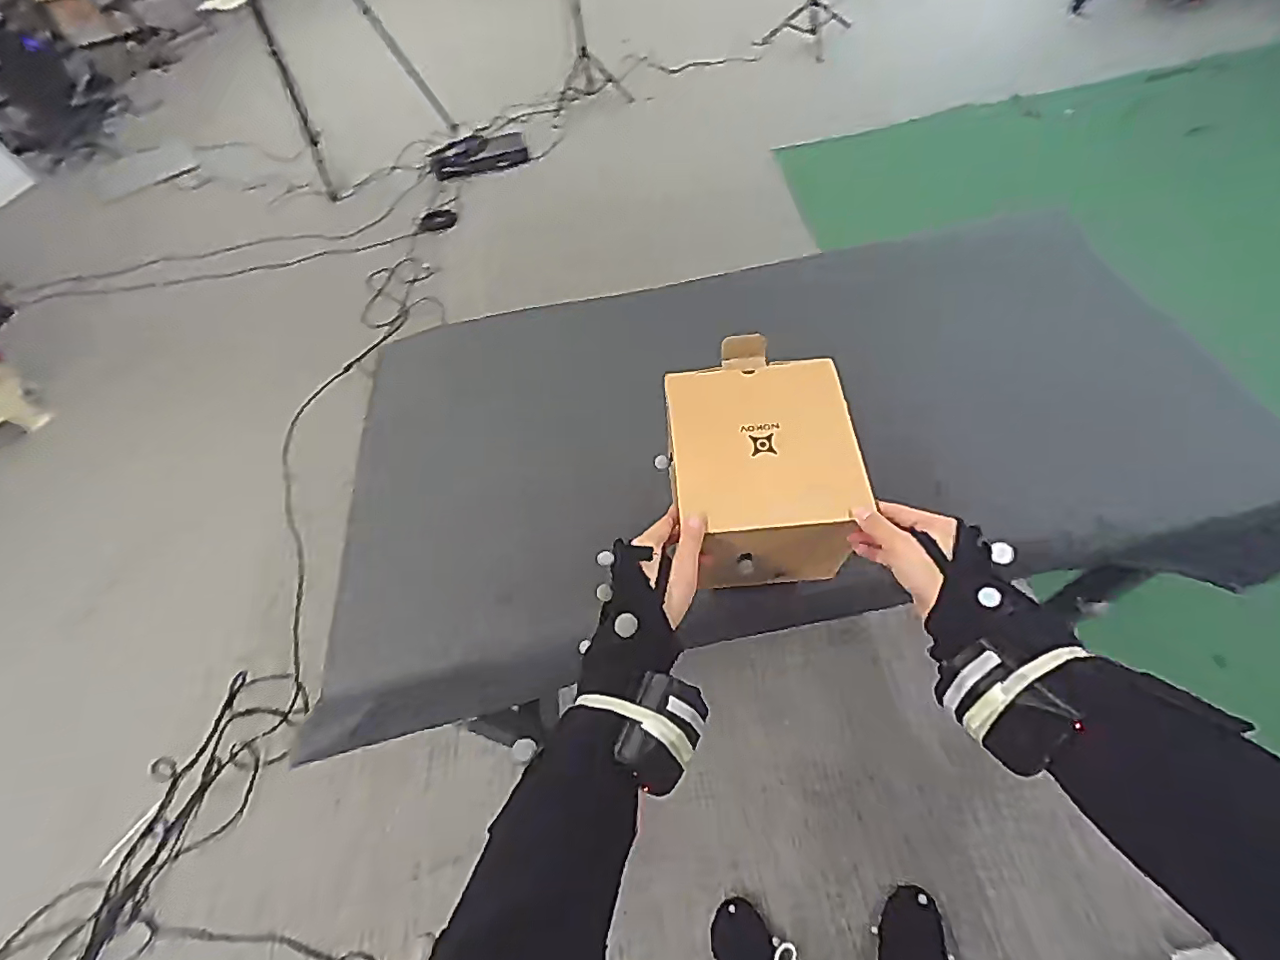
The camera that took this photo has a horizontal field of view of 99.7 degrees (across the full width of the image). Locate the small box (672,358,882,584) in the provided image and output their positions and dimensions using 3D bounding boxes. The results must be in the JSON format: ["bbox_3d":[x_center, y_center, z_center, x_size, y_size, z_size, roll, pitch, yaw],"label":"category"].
[{"bbox_3d":[0.124,0.002,0.557,0.168,0.176,0.179,-5,61,3],"label":"small box"}]
